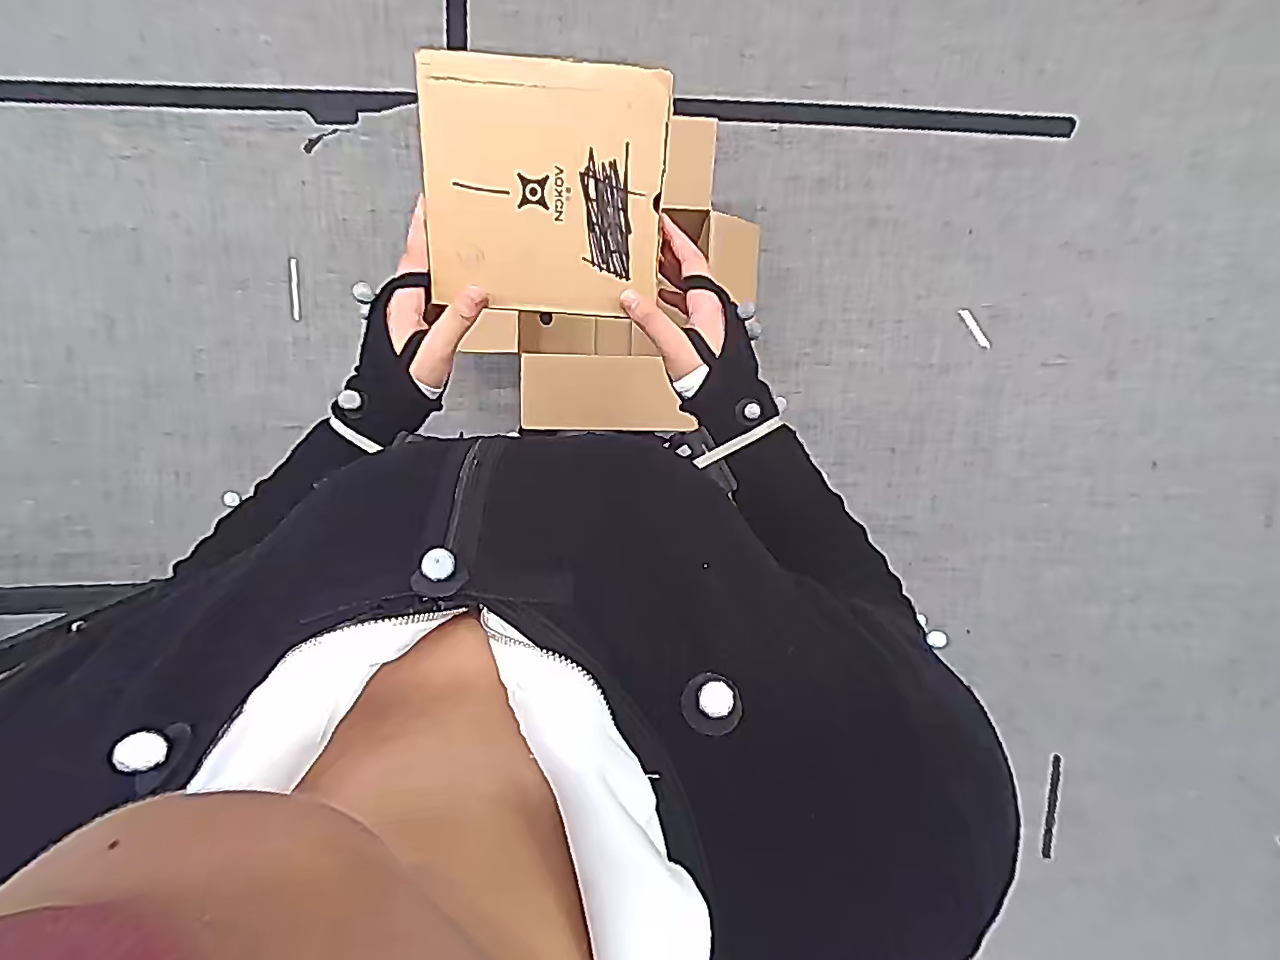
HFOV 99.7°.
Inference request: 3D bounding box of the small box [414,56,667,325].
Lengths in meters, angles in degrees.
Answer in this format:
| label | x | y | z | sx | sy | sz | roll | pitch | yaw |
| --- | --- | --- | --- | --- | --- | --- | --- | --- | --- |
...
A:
| label | x | y | z | sx | sy | sz | roll | pitch | yaw |
| --- | --- | --- | --- | --- | --- | --- | --- | --- | --- |
| small box | -0.076 | -0.233 | 0.471 | 0.179 | 0.176 | 0.168 | 3 | 110 | -3 |
